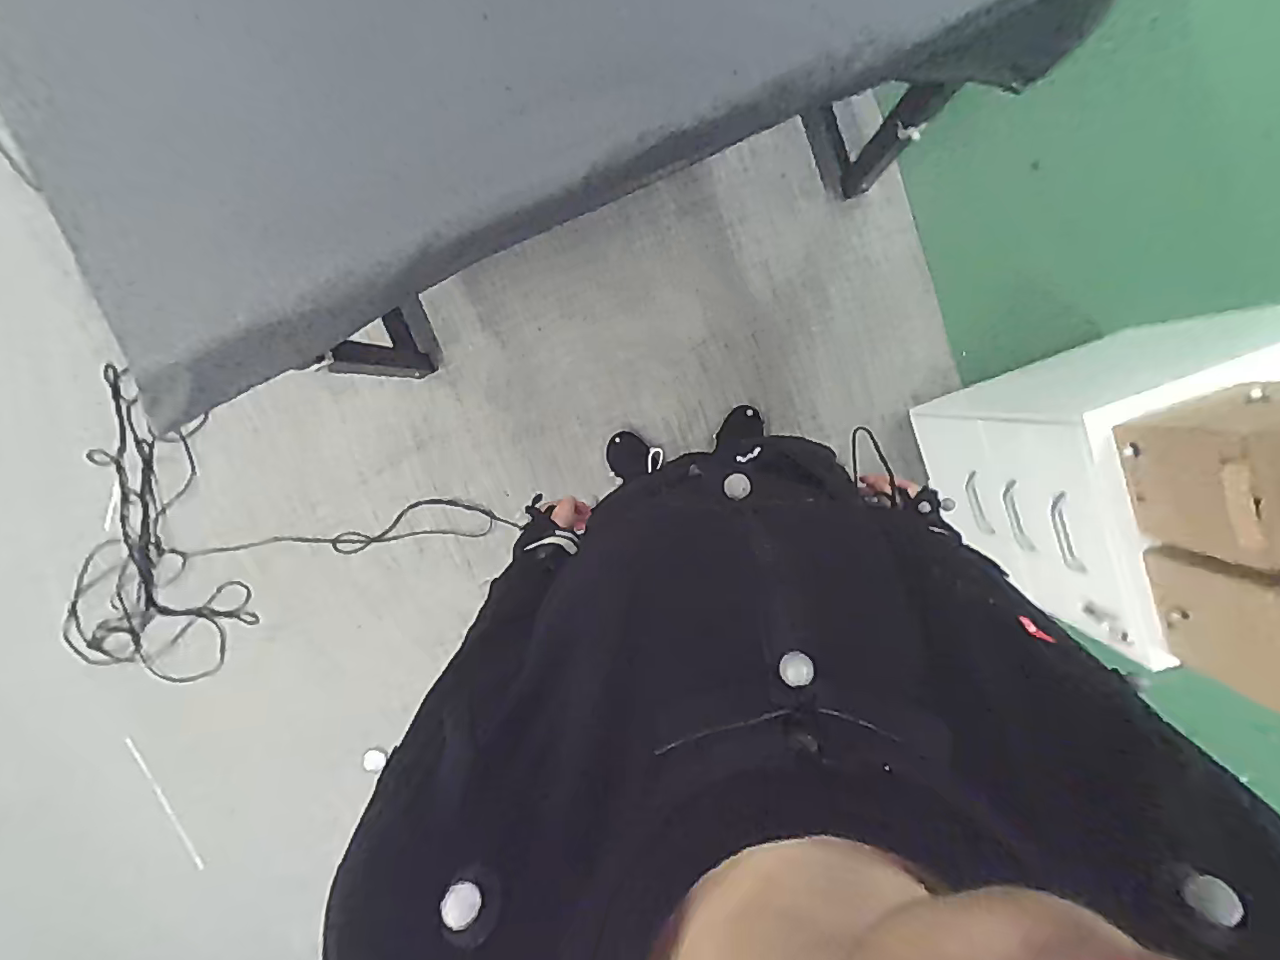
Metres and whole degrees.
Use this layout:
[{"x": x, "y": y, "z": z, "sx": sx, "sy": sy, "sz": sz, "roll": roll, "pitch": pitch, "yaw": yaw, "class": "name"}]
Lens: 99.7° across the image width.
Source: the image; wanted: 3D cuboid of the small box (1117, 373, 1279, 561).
[{"x": 0.734, "y": -0.024, "z": 0.657, "sx": 0.179, "sy": 0.176, "sz": 0.168, "roll": -21, "pitch": 98, "yaw": 4, "class": "small box"}]
